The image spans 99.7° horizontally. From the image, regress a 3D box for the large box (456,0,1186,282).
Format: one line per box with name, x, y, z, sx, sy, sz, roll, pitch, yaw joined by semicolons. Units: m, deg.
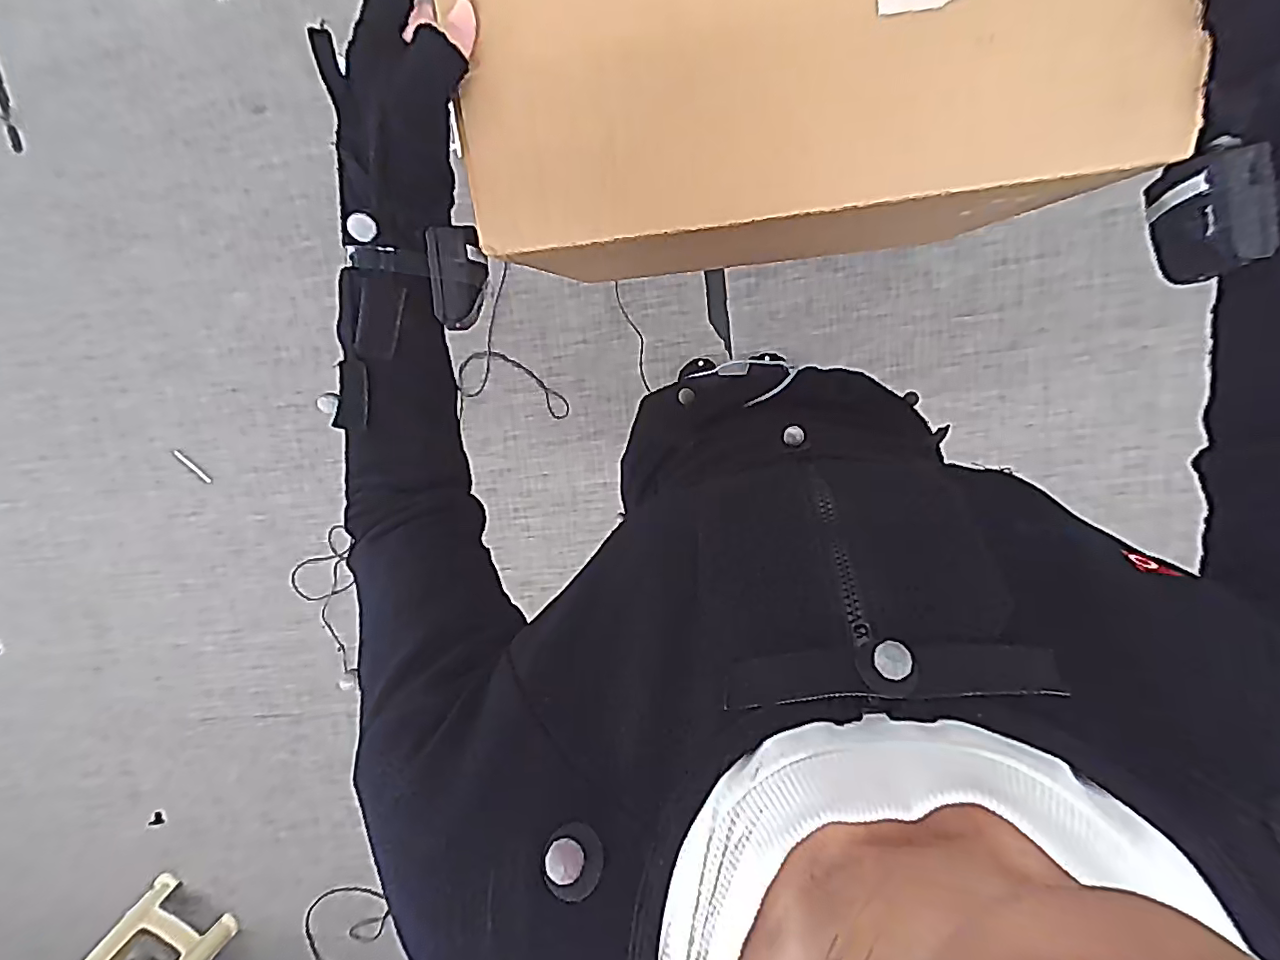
large box;0.097;-0.357;0.434;0.408;0.320;0.320;-5;106;7
